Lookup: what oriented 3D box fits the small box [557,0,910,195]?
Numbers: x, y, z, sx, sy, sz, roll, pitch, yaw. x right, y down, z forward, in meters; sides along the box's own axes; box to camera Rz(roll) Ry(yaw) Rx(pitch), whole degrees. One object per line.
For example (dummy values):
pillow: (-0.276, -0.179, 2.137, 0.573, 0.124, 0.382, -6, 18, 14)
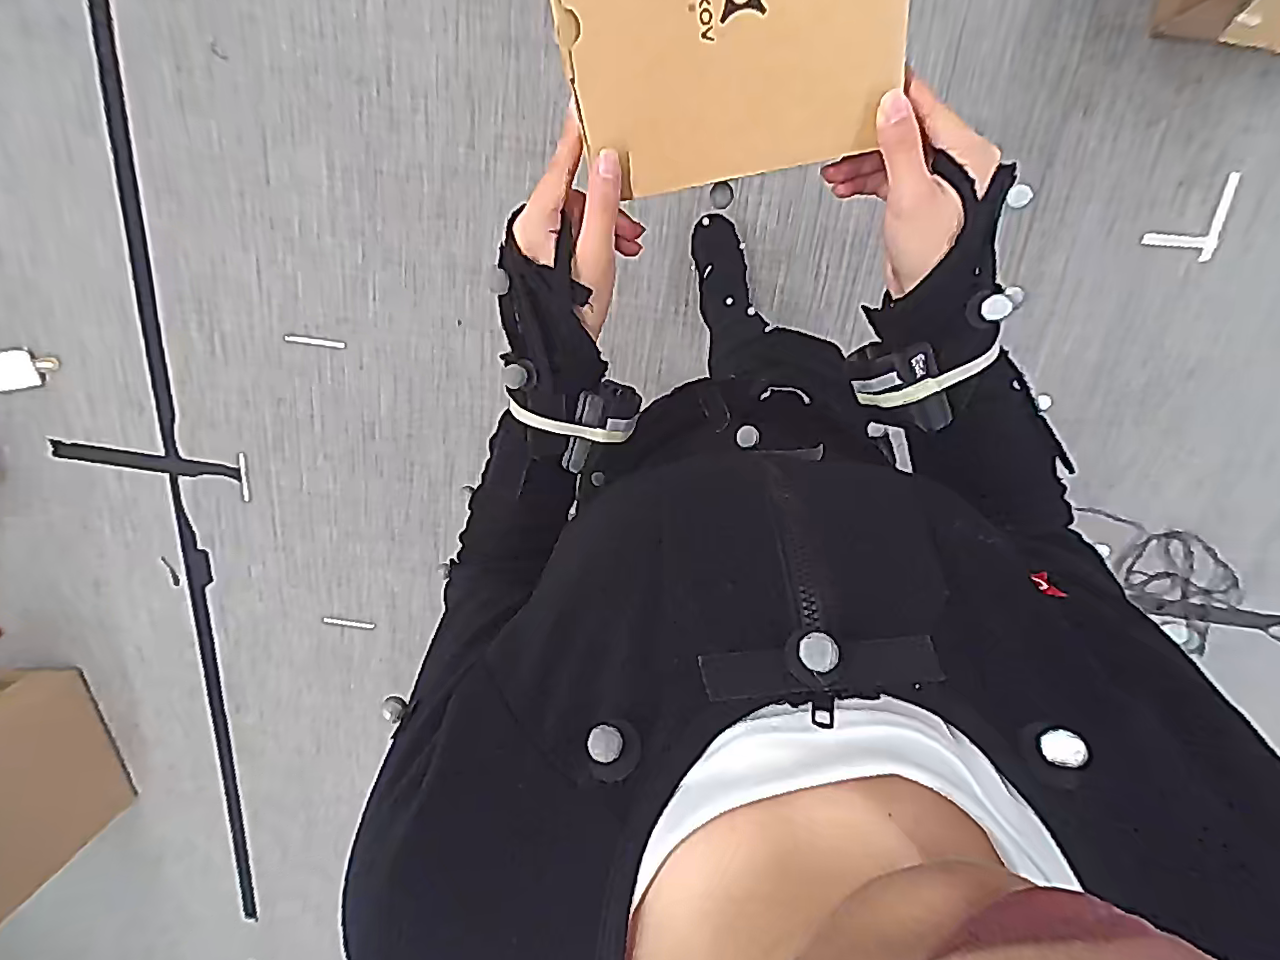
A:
small box: (0.043, -0.286, 0.332, 0.179, 0.176, 0.168, -9, 120, 4)
